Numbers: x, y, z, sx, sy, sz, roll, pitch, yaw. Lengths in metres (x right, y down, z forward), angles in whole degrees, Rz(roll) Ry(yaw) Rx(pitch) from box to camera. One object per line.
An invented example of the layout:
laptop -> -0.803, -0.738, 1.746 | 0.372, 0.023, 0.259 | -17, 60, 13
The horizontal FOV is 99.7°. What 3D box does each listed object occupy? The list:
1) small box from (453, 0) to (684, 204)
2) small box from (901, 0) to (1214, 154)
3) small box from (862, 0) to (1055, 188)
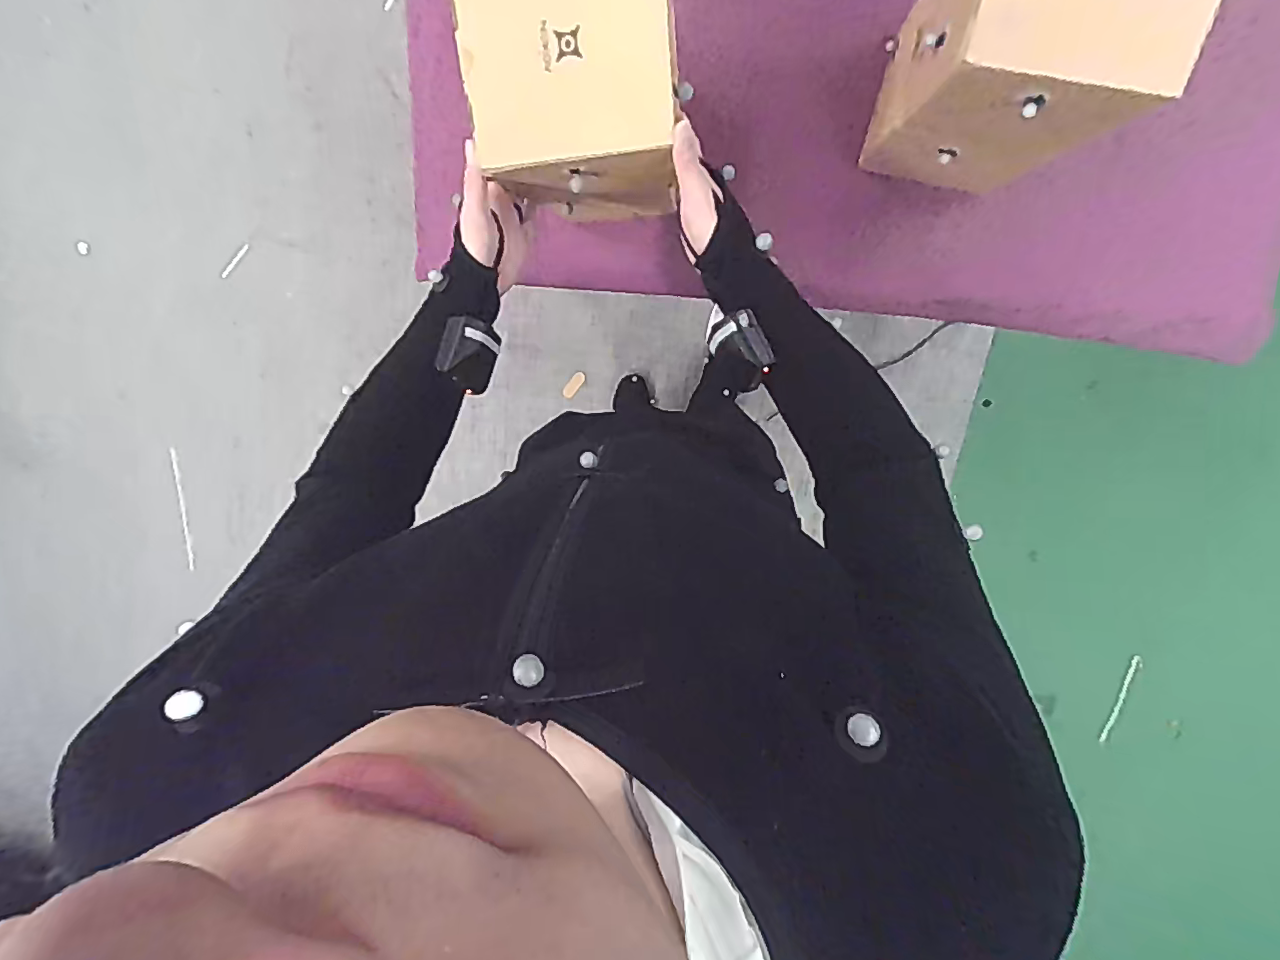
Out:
small box -> -0.050, -0.371, 0.512 | 0.179, 0.176, 0.168 | -2, 109, 9
small box -> 0.368, -0.420, 0.491 | 0.179, 0.176, 0.168 | 13, 108, 3
small box -> 0.390, -0.468, 0.645 | 0.179, 0.176, 0.168 | 13, 107, 3
